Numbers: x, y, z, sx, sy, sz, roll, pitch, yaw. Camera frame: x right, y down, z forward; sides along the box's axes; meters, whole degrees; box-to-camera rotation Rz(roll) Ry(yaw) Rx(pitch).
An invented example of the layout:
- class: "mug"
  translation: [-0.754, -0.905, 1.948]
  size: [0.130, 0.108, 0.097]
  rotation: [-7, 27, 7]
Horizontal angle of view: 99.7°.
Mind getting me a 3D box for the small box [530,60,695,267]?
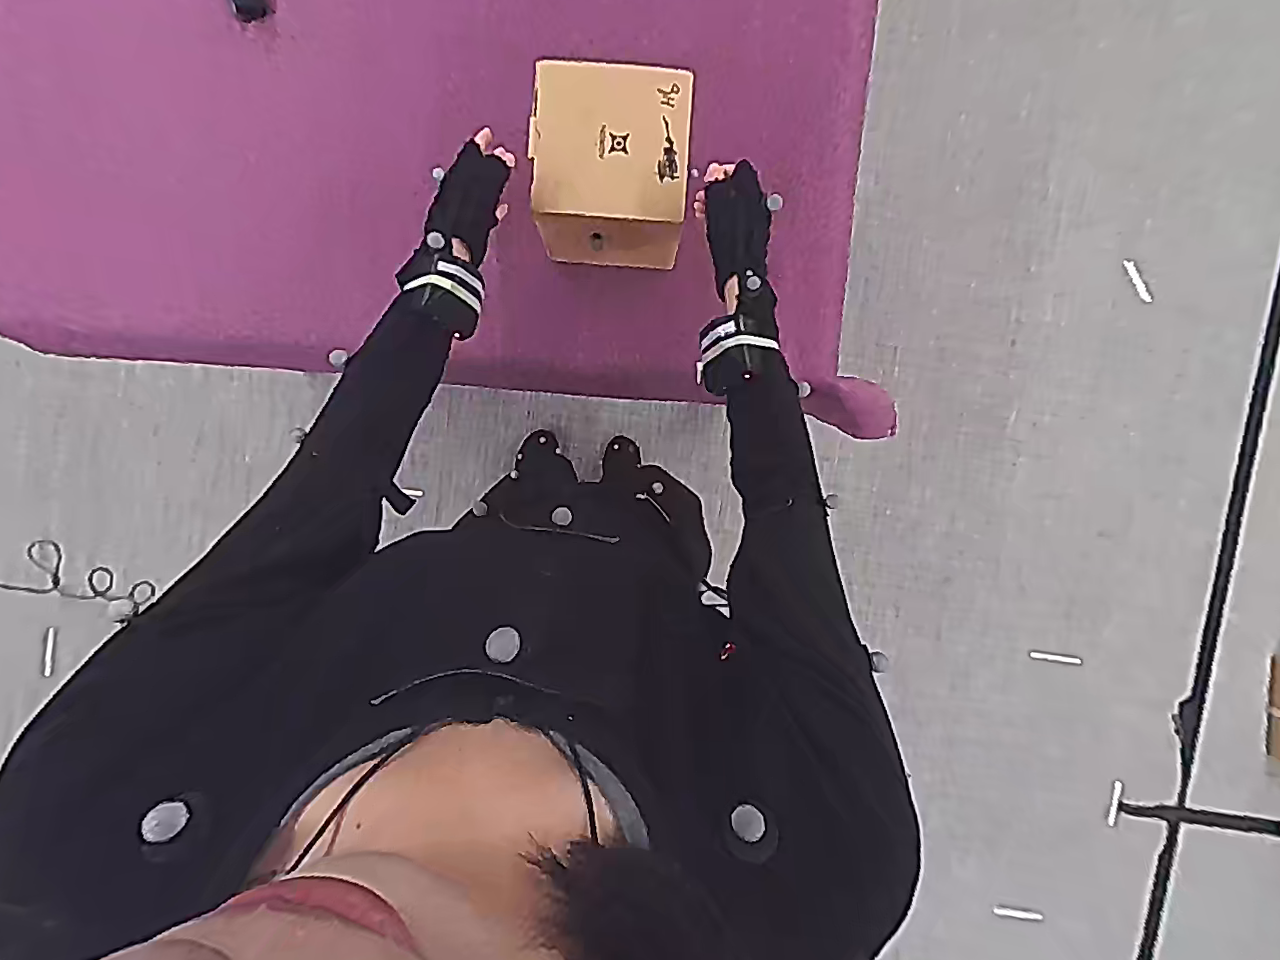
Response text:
- class: "small box"
  translation: [-0.031, -0.380, 0.679]
  size: [0.179, 0.176, 0.168]
  rotation: [4, 93, -1]
